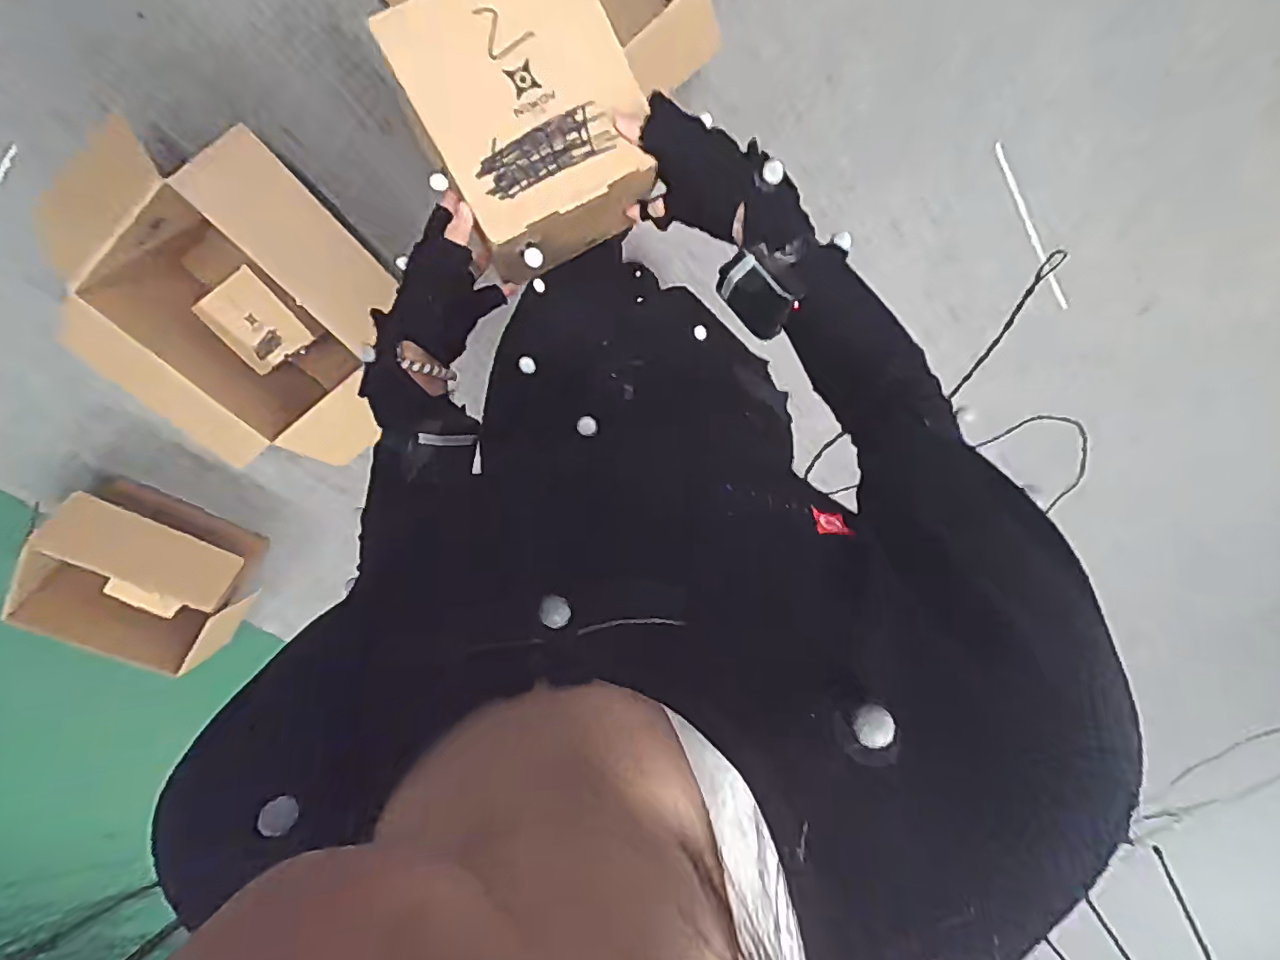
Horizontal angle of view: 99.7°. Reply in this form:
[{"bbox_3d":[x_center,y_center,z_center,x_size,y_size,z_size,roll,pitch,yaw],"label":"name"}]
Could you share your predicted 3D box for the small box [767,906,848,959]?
[{"bbox_3d":[0.499,1.385,1.582,0.168,0.176,0.179,-36,118,18],"label":"small box"}]
